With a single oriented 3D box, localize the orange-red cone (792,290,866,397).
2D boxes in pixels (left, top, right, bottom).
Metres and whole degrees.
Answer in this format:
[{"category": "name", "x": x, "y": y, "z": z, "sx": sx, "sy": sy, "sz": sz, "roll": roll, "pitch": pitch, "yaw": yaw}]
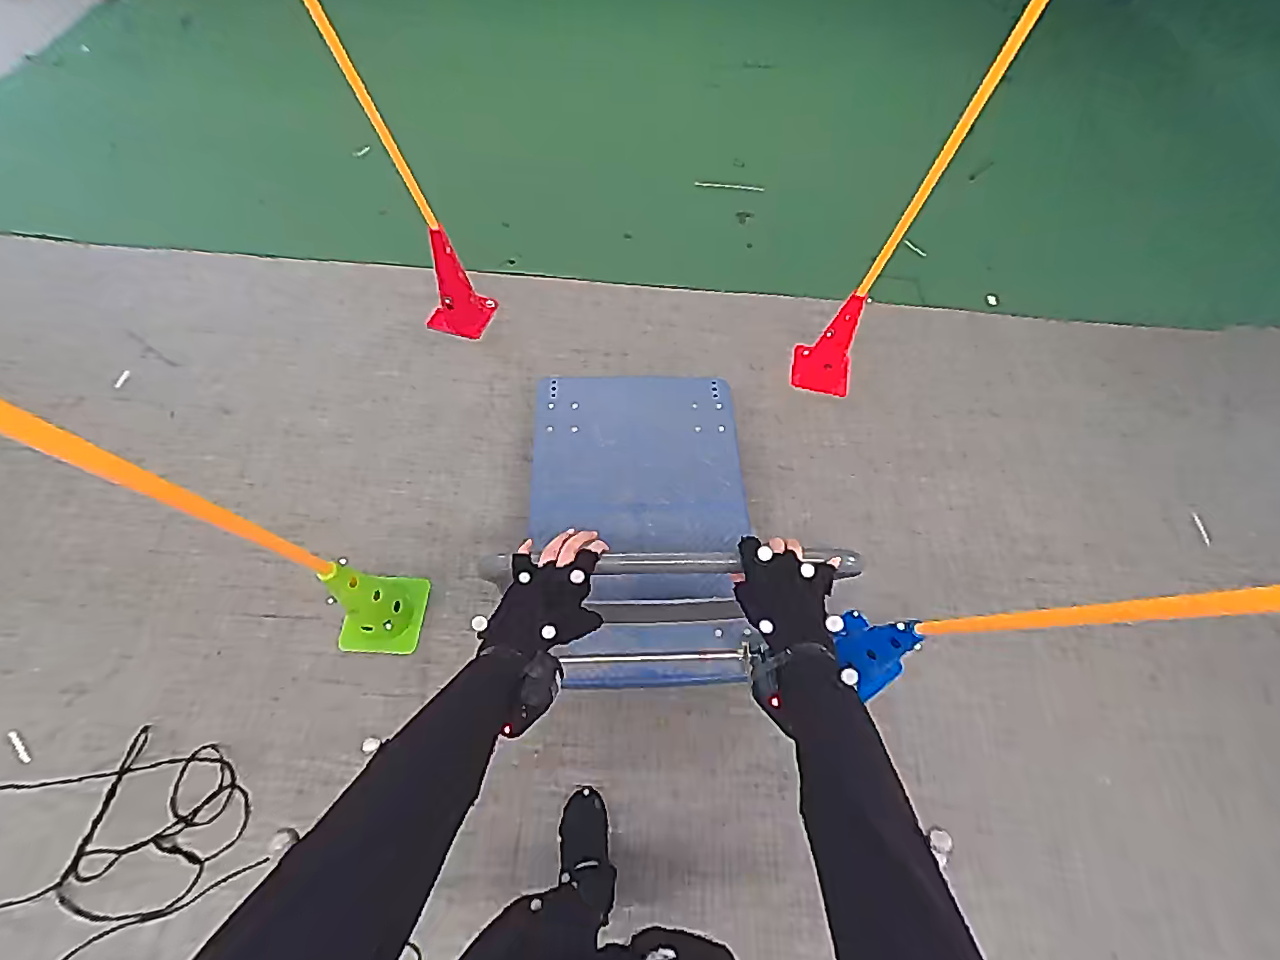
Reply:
[{"category": "orange-red cone", "x": 0.644, "y": -0.463, "z": 1.746, "sx": 0.198, "sy": 0.360, "sz": 0.199, "roll": 14, "pitch": 63, "yaw": 5}]
